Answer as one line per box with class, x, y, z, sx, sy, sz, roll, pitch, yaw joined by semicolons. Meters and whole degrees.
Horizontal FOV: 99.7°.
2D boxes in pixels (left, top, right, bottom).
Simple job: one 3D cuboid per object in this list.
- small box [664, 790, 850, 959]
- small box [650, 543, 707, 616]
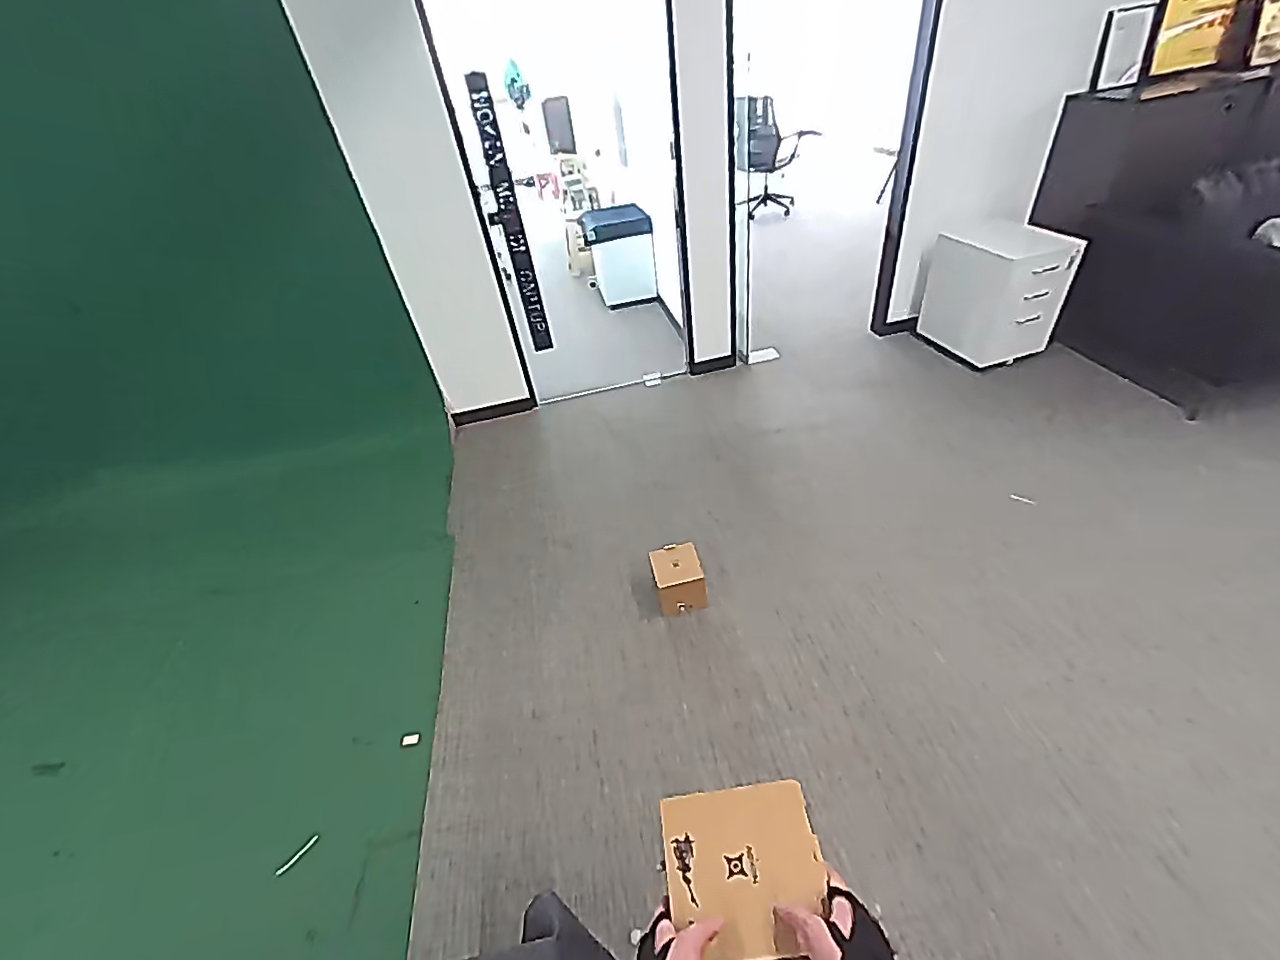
small box;0.127;0.500;0.646;0.179;0.176;0.168;-7;36;1
small box;0.138;0.356;1.930;0.168;0.176;0.179;-12;39;-1
